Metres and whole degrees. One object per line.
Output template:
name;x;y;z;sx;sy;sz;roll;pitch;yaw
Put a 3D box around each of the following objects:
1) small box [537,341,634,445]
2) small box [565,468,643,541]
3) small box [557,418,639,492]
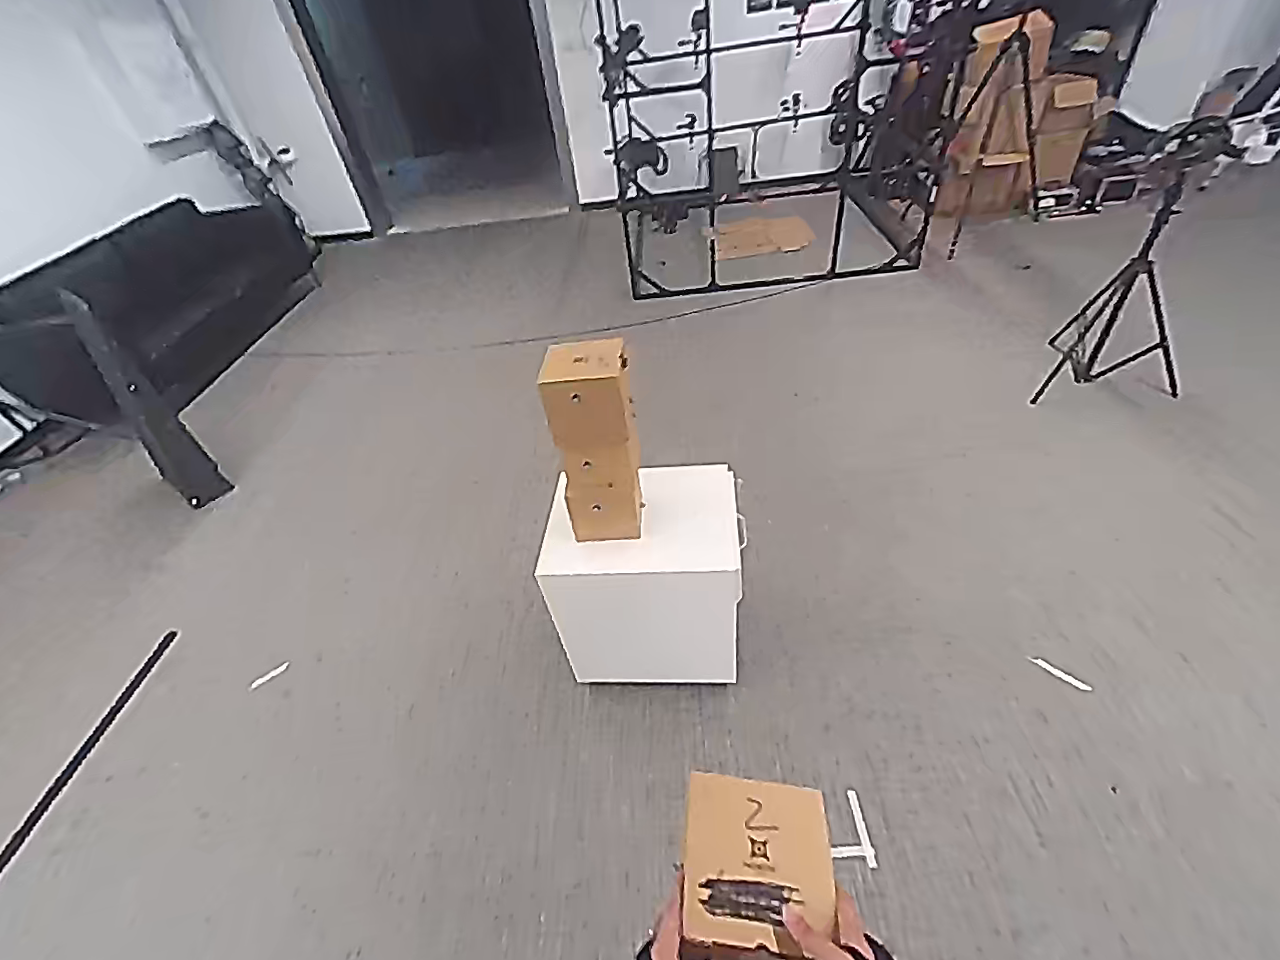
small box;-0.113;-0.191;1.214;0.179;0.176;0.168;-3;42;6
small box;-0.089;0.048;1.437;0.179;0.176;0.168;-3;42;5
small box;-0.095;-0.082;1.338;0.168;0.176;0.179;-3;41;6
